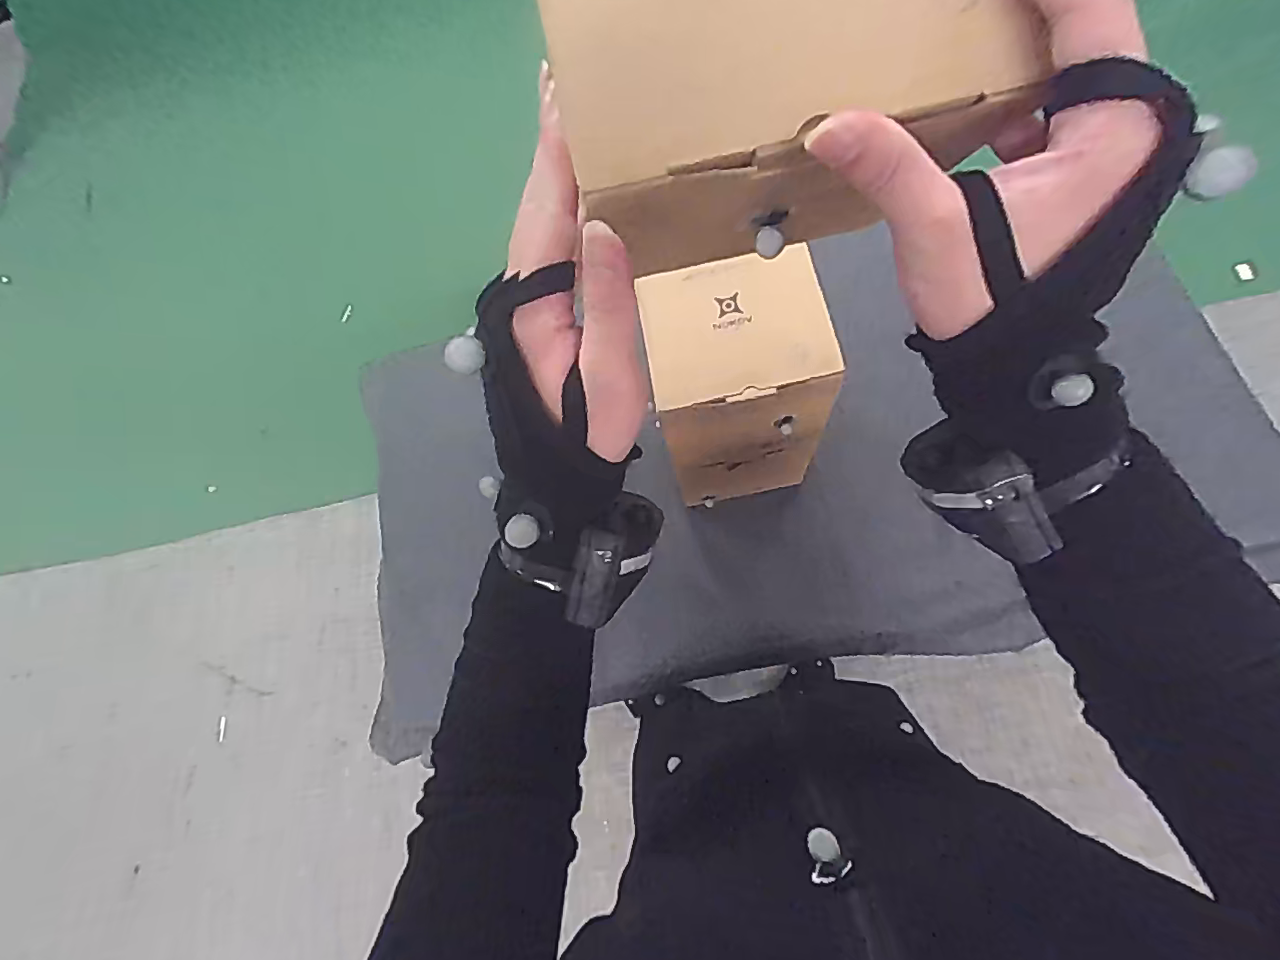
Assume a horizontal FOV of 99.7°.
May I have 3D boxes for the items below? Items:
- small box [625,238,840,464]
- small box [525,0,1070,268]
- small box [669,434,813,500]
[{"bbox_3d":[0.089,-0.127,0.561,0.168,0.176,0.179,-12,71,4],"label":"small box"},{"bbox_3d":[0.041,-0.204,0.238,0.168,0.176,0.179,-12,100,2],"label":"small box"},{"bbox_3d":[0.116,-0.081,0.713,0.168,0.176,0.179,-12,71,6],"label":"small box"}]
